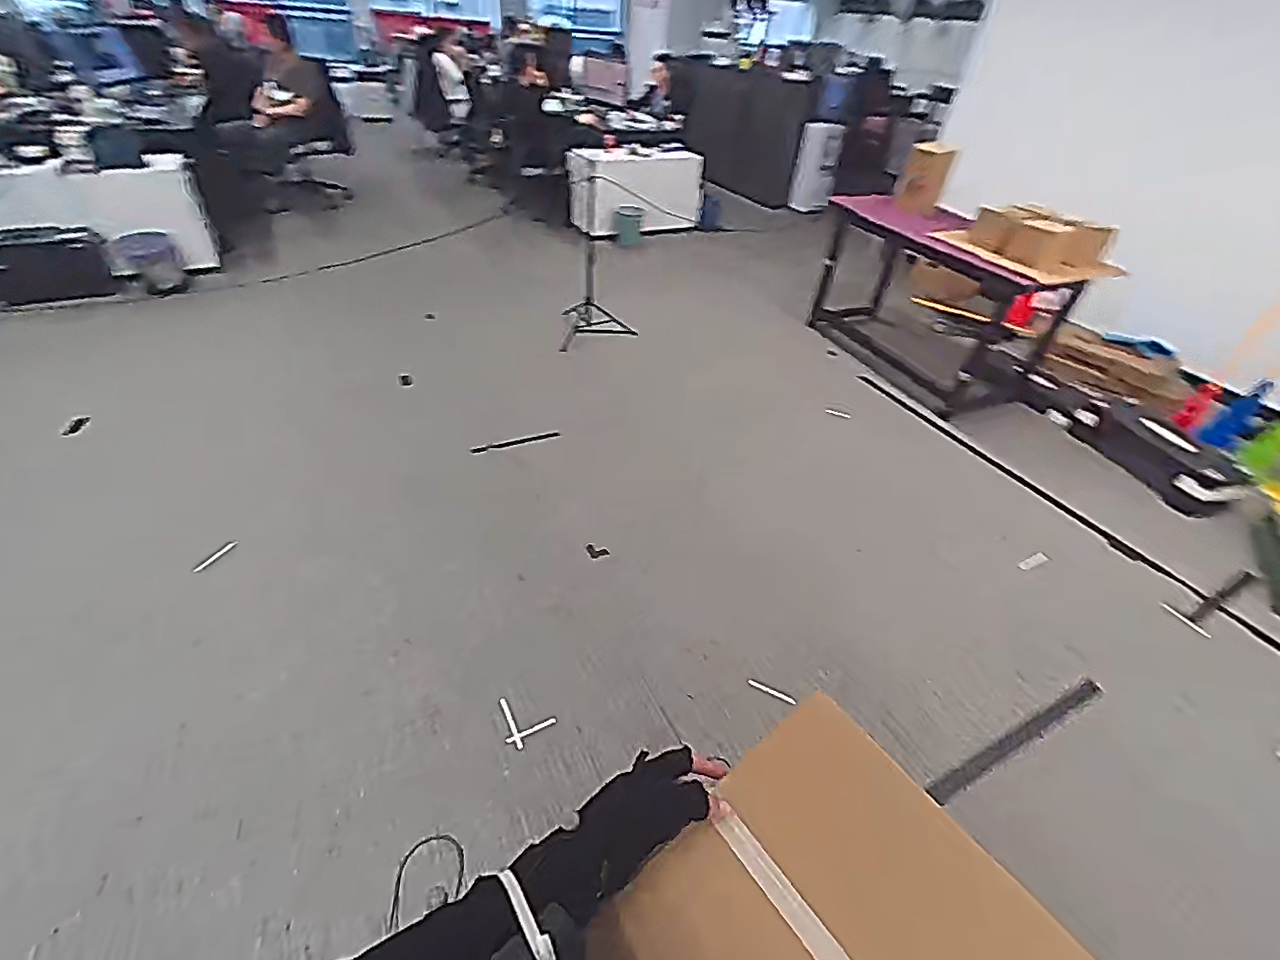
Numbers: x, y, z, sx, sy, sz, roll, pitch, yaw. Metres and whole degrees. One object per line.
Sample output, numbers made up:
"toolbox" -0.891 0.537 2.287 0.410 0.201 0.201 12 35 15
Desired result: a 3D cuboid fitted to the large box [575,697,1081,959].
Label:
"large box" 0.184 0.507 0.521 0.320 0.320 0.408 -32 57 -23
